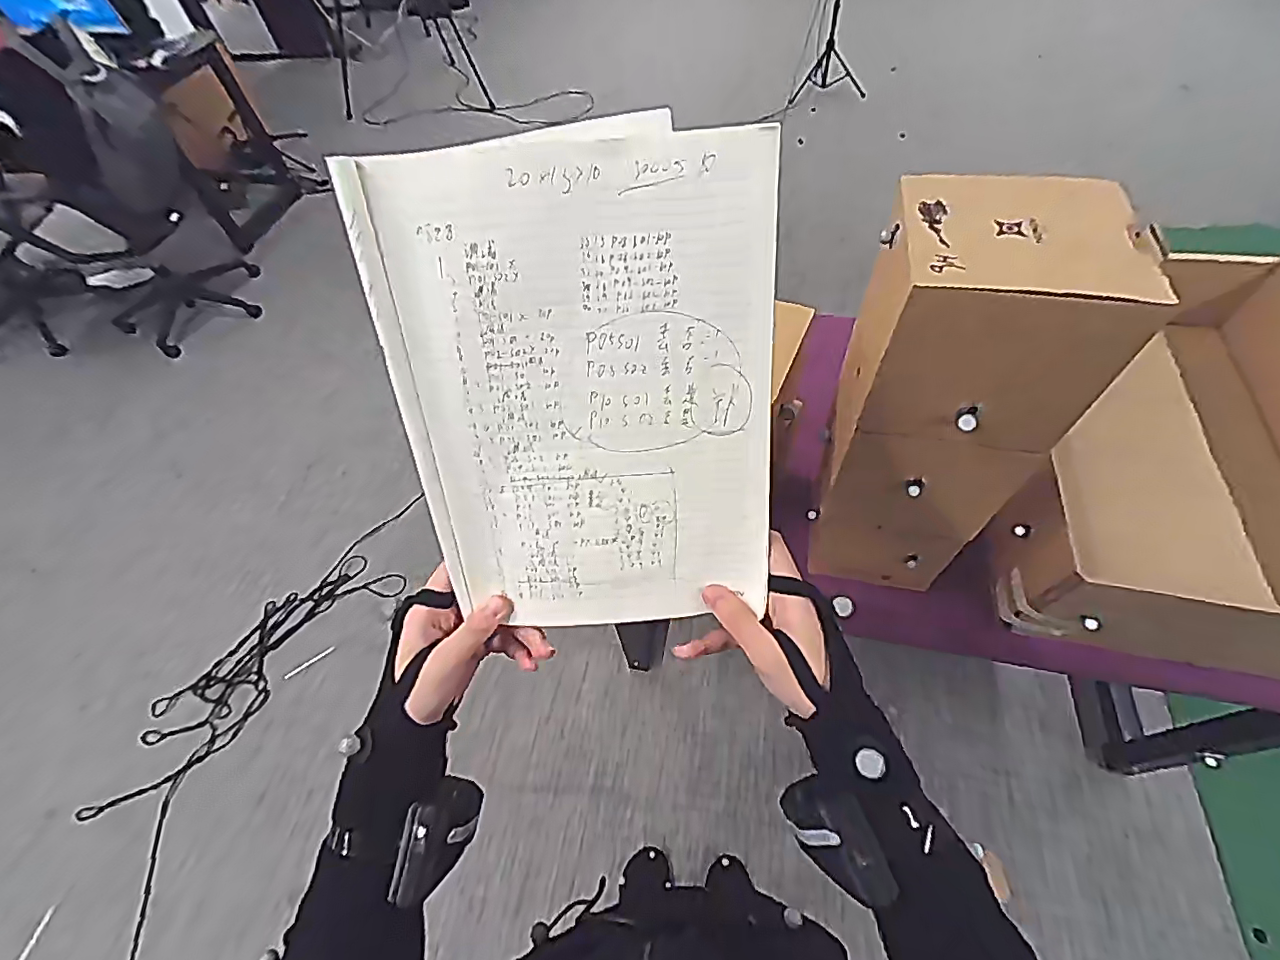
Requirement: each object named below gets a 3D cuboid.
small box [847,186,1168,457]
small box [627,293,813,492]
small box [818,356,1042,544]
[{"bbox_3d":[0.304,-0.140,0.496,0.179,0.176,0.168,9,54,10],"label":"small box"},{"bbox_3d":[0.103,-0.108,0.697,0.179,0.176,0.168,18,58,19],"label":"small box"},{"bbox_3d":[0.317,-0.043,0.628,0.179,0.176,0.168,8,55,11],"label":"small box"}]
